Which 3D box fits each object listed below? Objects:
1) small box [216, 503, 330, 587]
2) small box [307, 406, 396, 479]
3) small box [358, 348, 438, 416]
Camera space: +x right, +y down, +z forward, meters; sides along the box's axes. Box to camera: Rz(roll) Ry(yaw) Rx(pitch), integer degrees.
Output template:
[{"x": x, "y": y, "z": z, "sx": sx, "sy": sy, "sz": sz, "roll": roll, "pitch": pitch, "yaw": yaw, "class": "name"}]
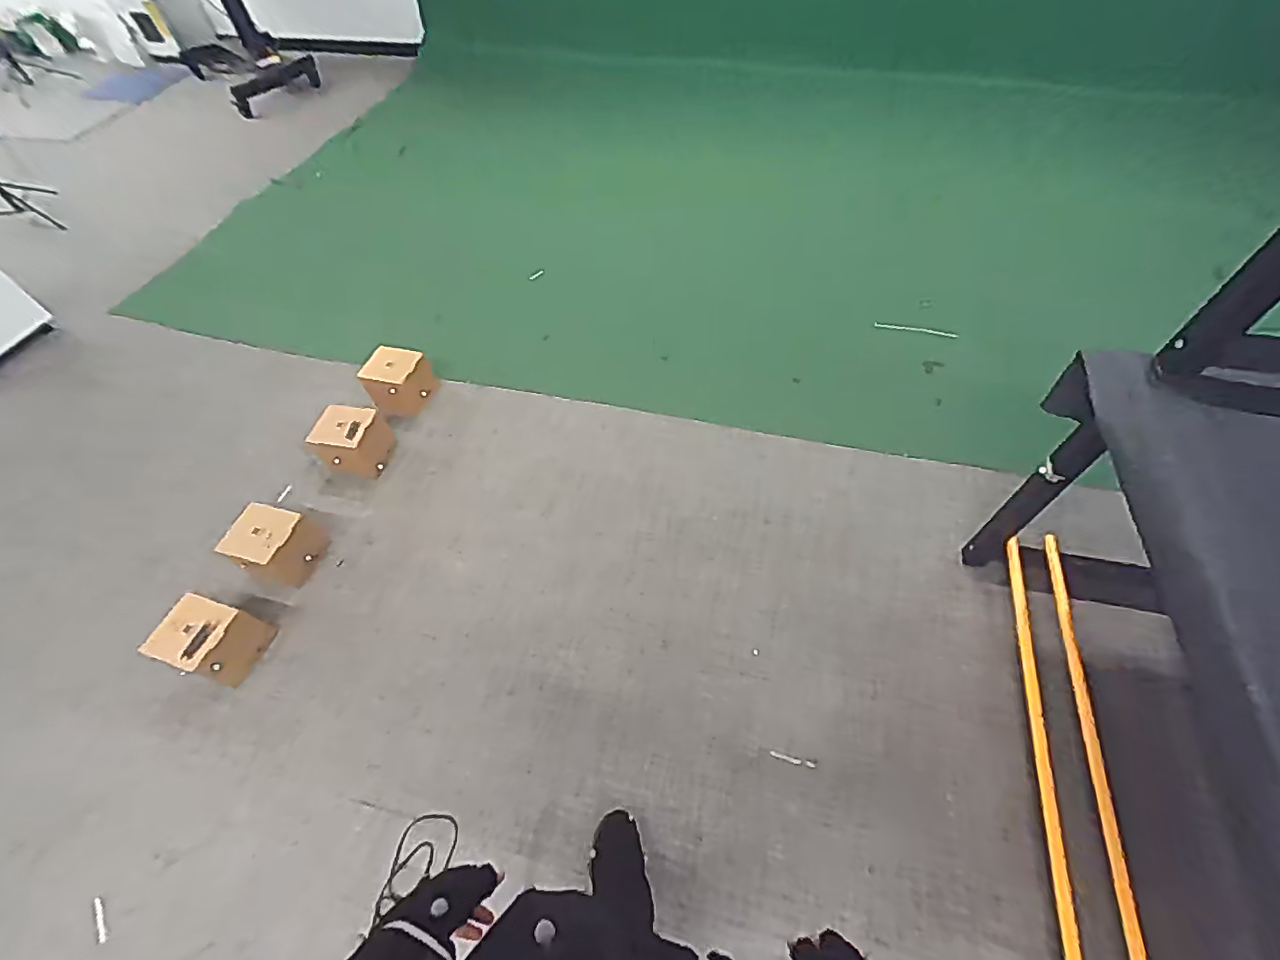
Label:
[{"x": -1.058, "y": 0.194, "z": 1.574, "sx": 0.179, "sy": 0.176, "sz": 0.168, "roll": 12, "pitch": 57, "yaw": 10, "class": "small box"}, {"x": -0.949, "y": -0.121, "z": 1.799, "sx": 0.179, "sy": 0.176, "sz": 0.168, "roll": 7, "pitch": 55, "yaw": 8, "class": "small box"}, {"x": -0.872, "y": -0.351, "z": 1.963, "sx": 0.179, "sy": 0.176, "sz": 0.168, "roll": 11, "pitch": 56, "yaw": 9, "class": "small box"}]
